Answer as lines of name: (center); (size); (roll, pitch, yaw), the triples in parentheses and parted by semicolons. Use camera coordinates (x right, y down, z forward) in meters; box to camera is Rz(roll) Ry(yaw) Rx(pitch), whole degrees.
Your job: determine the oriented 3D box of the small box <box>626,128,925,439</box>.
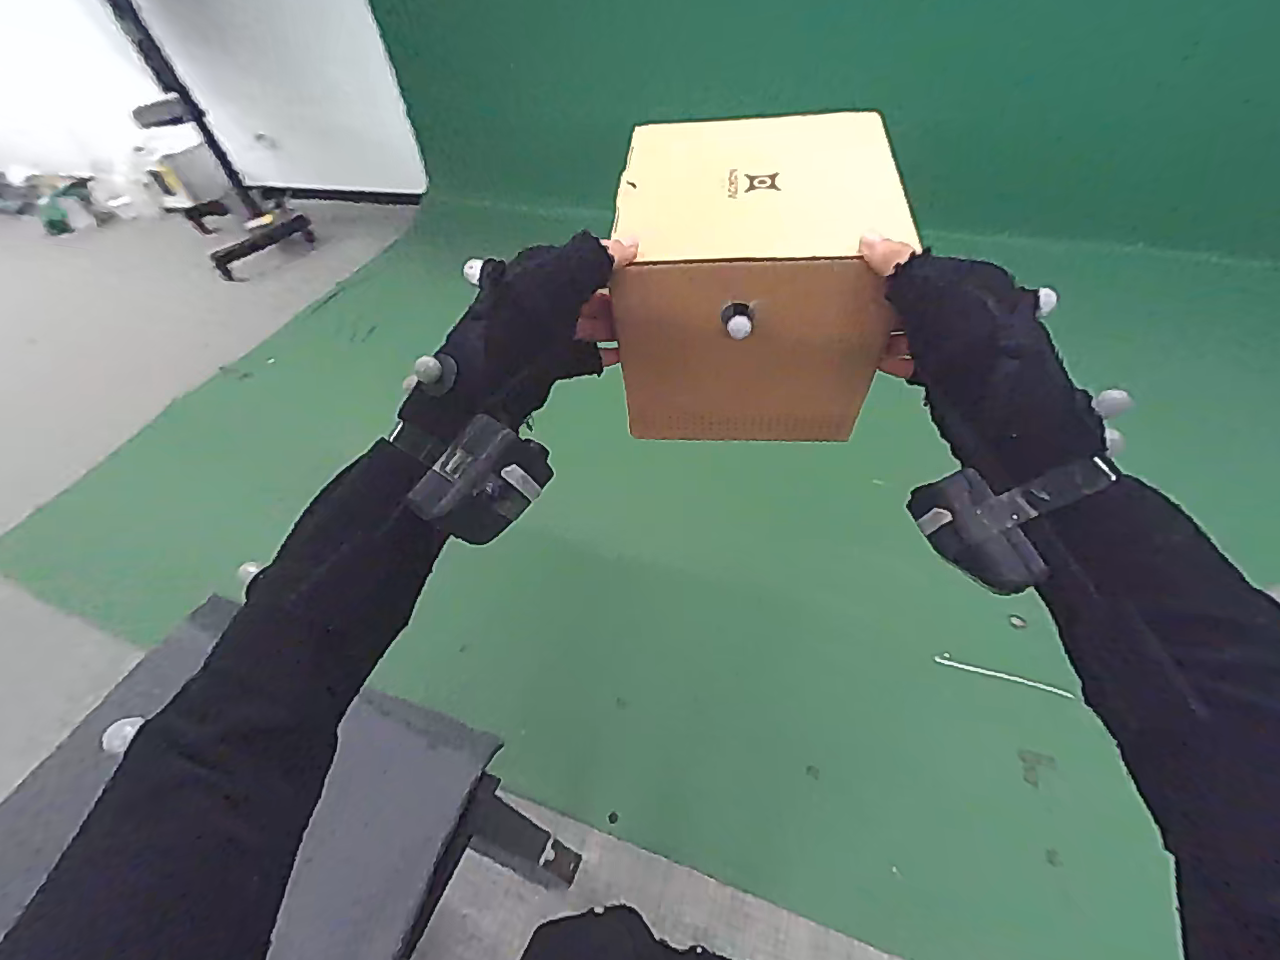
small box: (0.092, -0.146, 0.426); (0.179, 0.176, 0.168); (2, 56, 8)
